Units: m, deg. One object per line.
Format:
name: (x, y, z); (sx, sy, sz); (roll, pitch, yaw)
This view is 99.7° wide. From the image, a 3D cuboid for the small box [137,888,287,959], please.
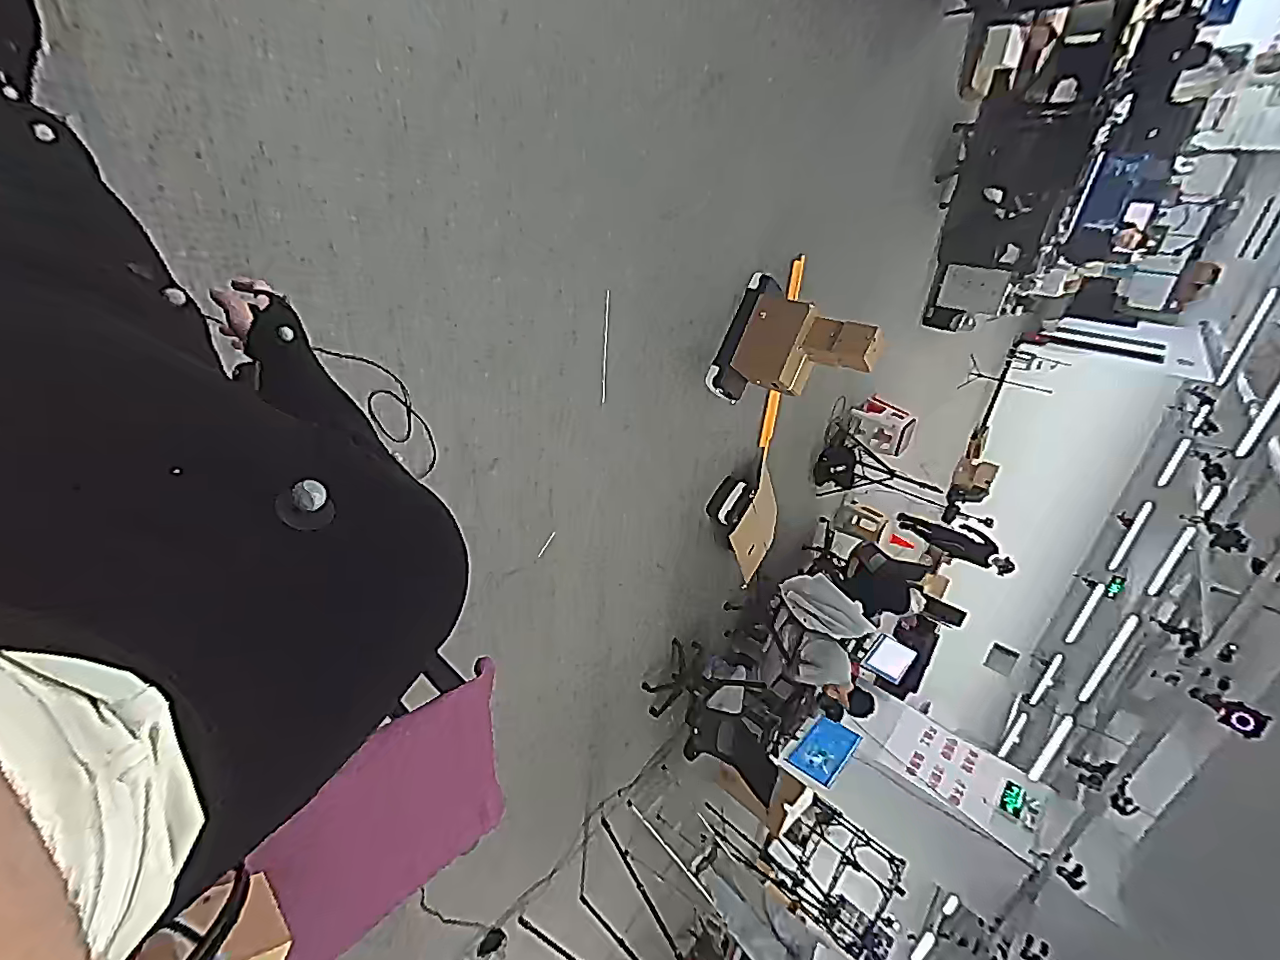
small box: (-0.786, 0.887, 0.975); (0.168, 0.176, 0.179); (25, 91, -55)
